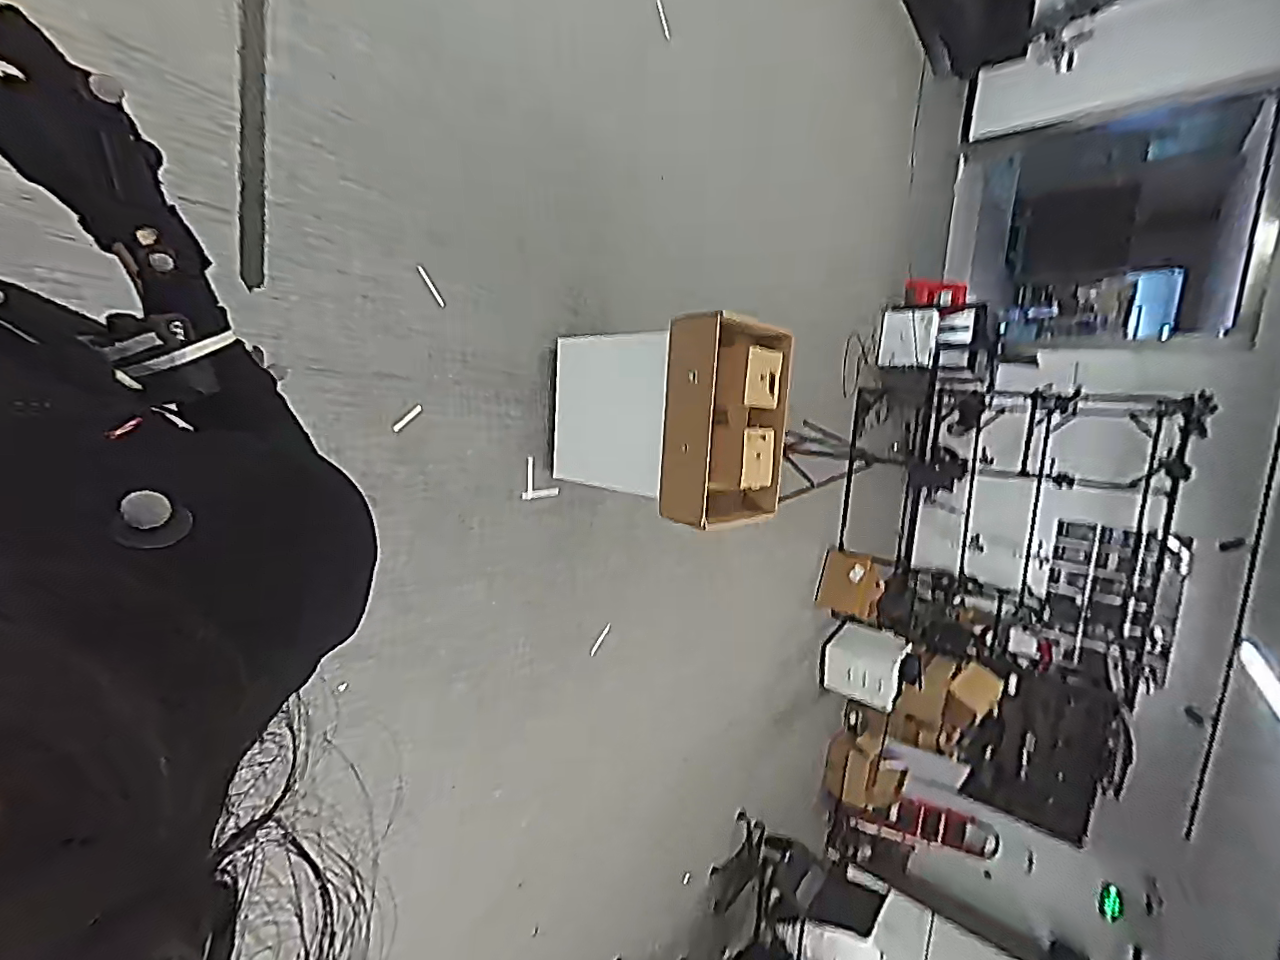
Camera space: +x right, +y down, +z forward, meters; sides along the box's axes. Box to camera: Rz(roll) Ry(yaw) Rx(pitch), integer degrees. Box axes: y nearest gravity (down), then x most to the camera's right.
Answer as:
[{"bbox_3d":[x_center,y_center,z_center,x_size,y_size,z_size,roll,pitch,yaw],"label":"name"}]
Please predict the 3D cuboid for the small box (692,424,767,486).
[{"bbox_3d":[0.278,-0.080,1.701,0.168,0.176,0.179,-4,99,-46],"label":"small box"}]

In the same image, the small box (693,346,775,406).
[{"bbox_3d":[0.288,-0.319,1.661,0.179,0.176,0.168,-4,101,-44],"label":"small box"}]
